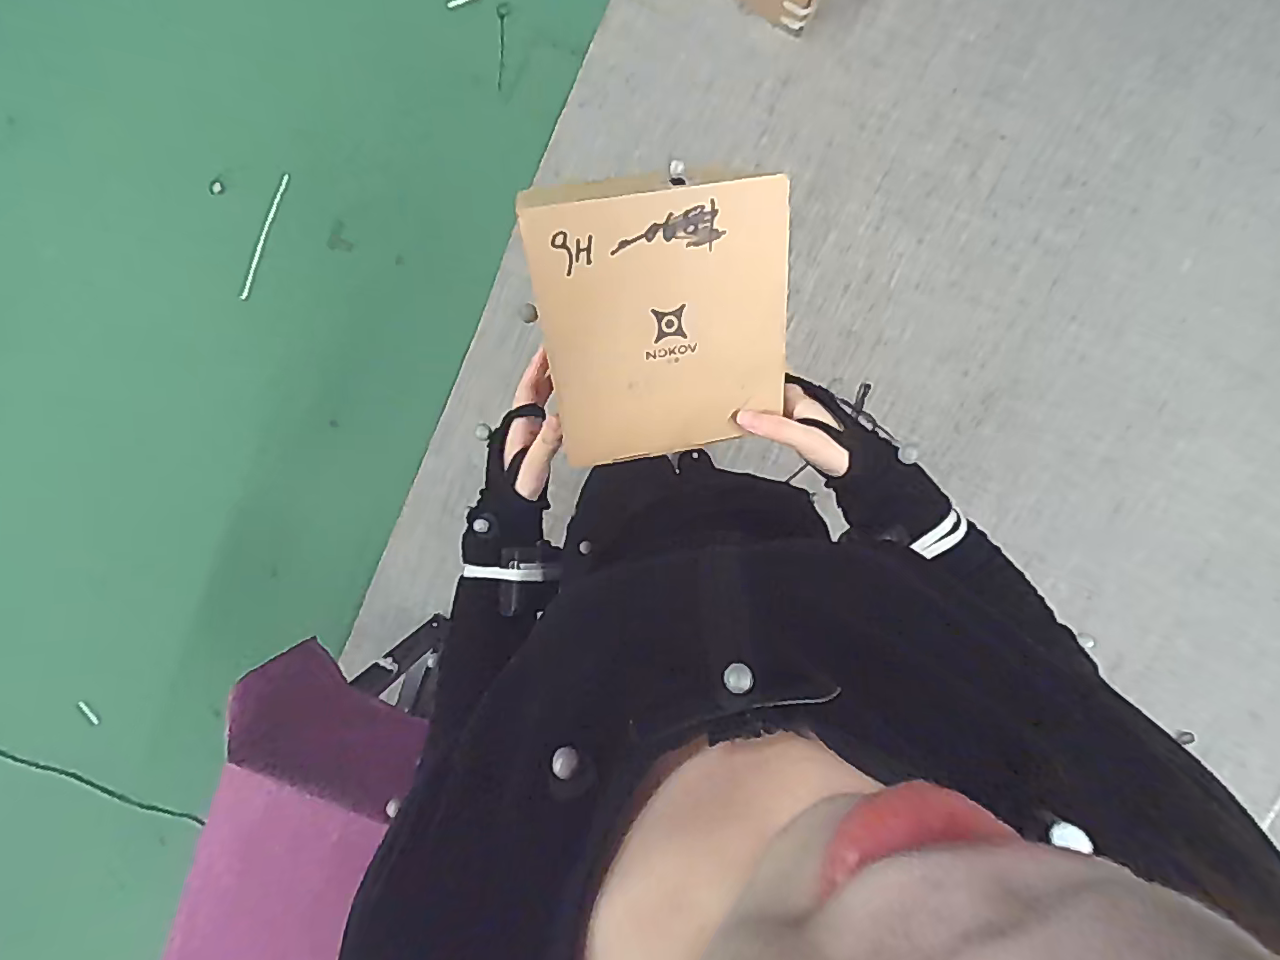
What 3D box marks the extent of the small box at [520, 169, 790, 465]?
[{"bbox_3d":[0.003,-0.138,0.431,0.168,0.176,0.179,-11,123,-7],"label":"small box"}]
